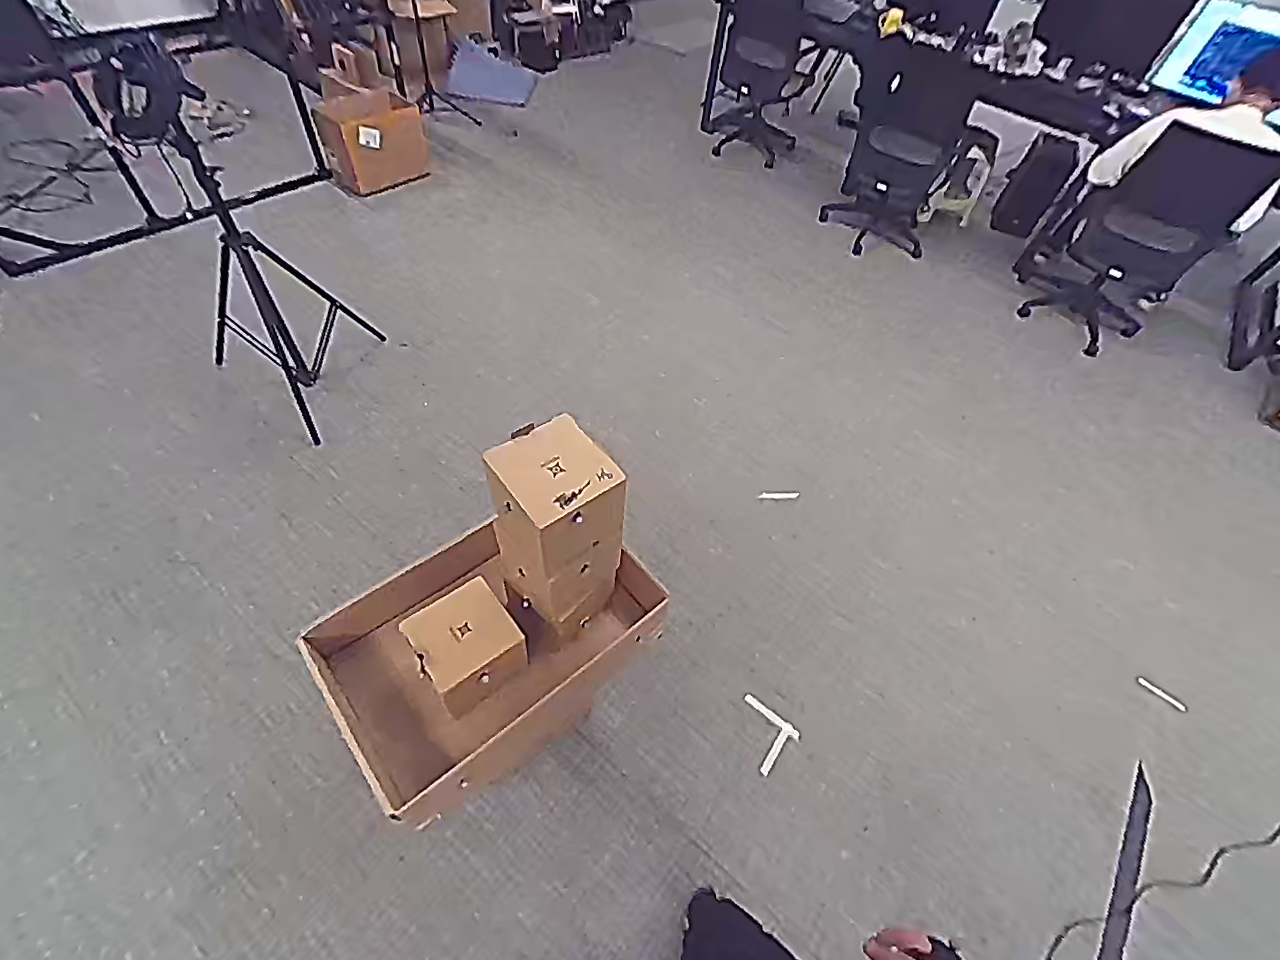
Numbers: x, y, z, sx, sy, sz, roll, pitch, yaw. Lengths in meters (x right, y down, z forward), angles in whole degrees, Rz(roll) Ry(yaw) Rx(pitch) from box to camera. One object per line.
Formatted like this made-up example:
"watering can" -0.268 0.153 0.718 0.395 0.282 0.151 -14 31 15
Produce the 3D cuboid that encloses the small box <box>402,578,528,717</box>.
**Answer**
"small box" -0.336 0.333 1.070 0.179 0.176 0.168 -32 62 -27

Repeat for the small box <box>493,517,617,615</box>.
"small box" -0.153 0.127 1.038 0.179 0.176 0.168 -37 65 -27

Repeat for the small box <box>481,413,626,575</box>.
"small box" -0.142 0.025 0.909 0.168 0.176 0.179 -32 61 -24
